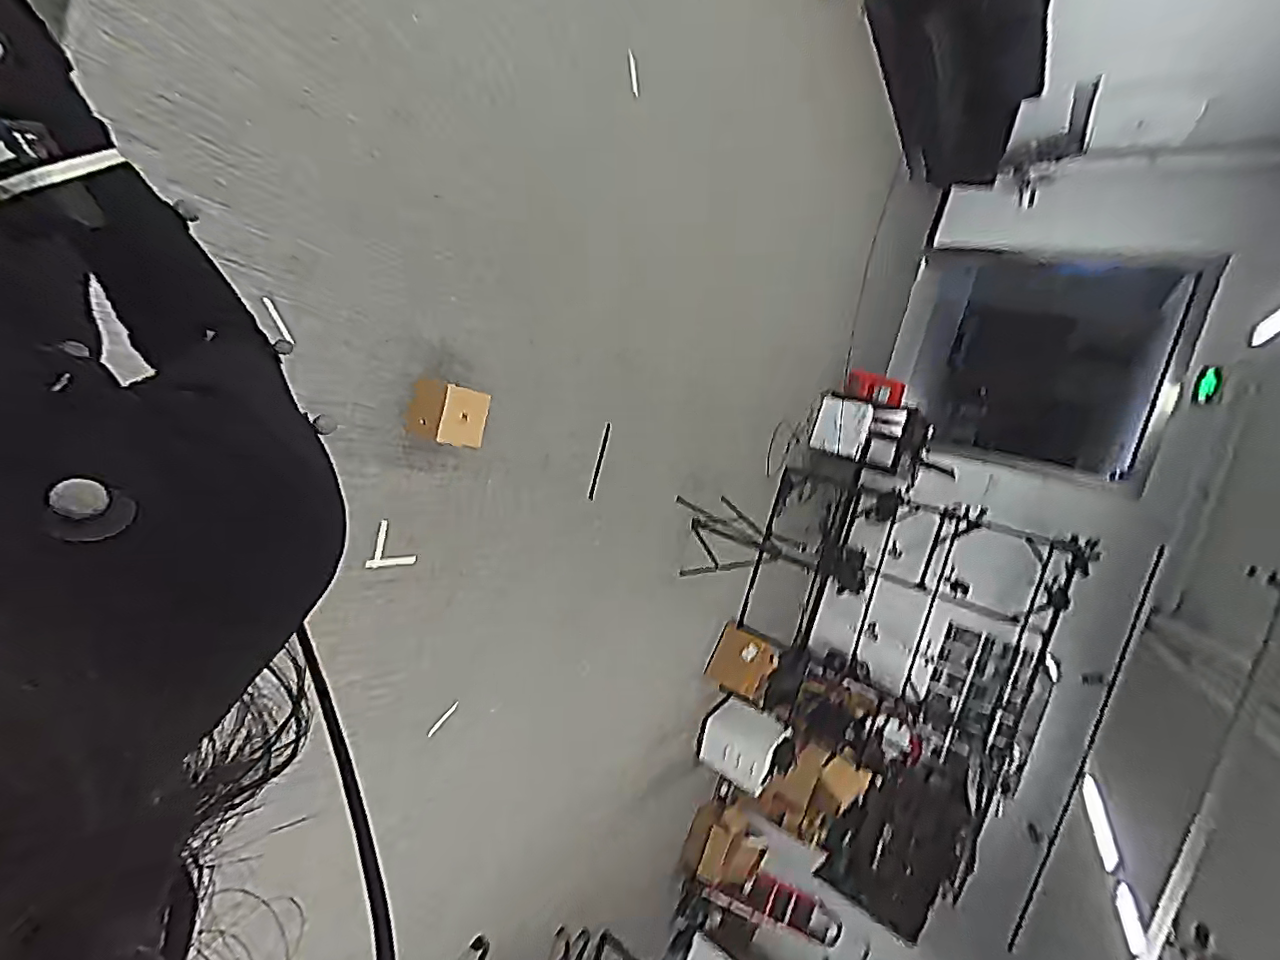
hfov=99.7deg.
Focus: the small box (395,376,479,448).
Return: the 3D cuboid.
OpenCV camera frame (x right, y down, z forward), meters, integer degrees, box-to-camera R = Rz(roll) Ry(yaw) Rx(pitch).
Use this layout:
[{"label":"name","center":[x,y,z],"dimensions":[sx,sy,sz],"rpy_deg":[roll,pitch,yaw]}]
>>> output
[{"label":"small box","center":[-0.638,-0.211,1.688],"dimensions":[0.168,0.176,0.179],"rpy_deg":[5,100,-58]}]
